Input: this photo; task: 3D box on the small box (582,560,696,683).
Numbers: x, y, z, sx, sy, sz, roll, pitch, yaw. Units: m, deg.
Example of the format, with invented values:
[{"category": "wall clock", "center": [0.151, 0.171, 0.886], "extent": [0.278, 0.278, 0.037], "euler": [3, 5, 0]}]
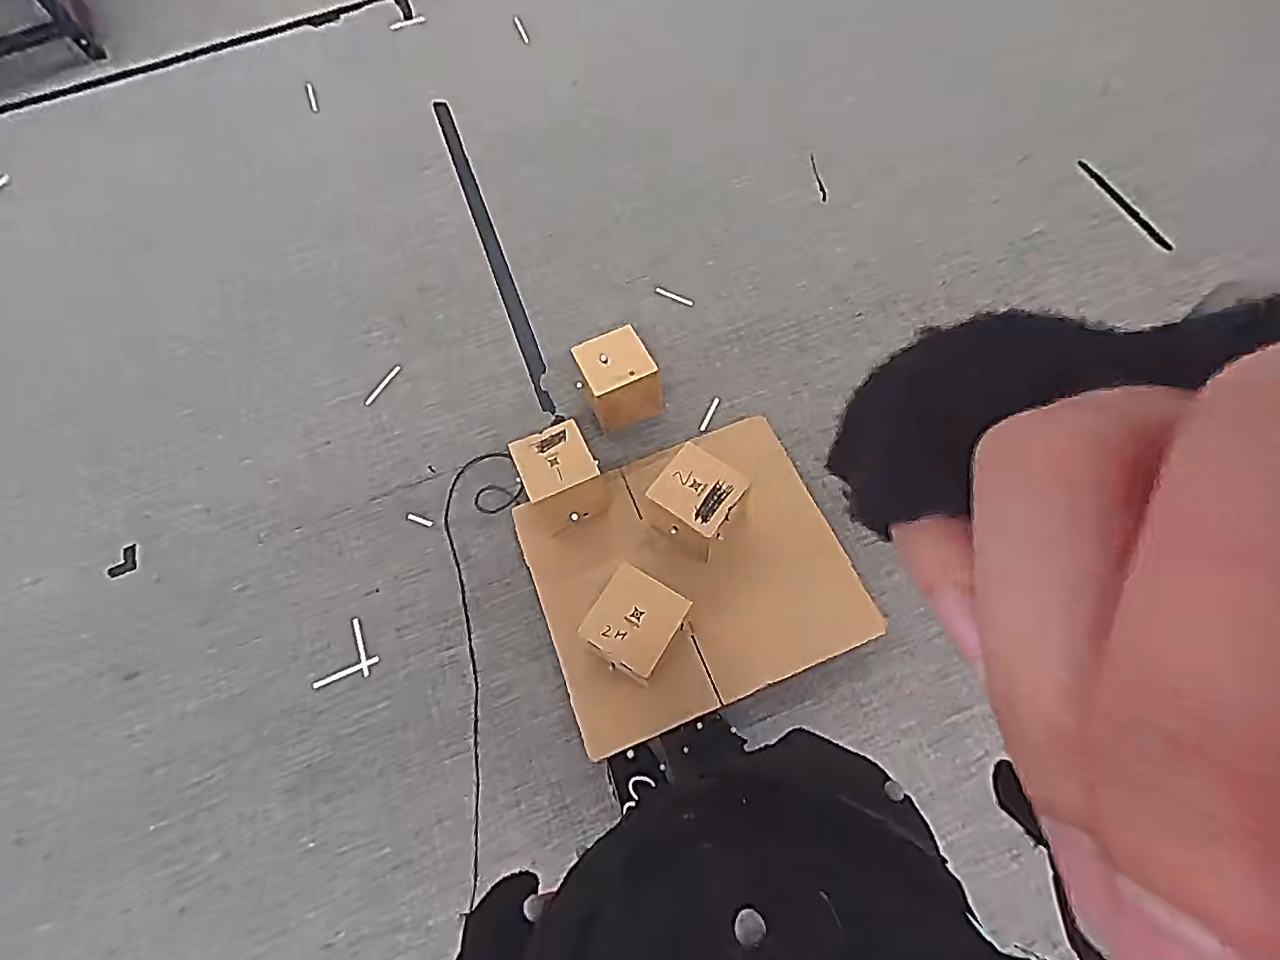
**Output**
[{"category": "small box", "center": [0.000, 0.301, 1.134], "extent": [0.168, 0.176, 0.179], "euler": [29, 69, 16]}]

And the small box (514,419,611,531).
[{"category": "small box", "center": [-0.182, -0.008, 1.291], "extent": [0.168, 0.176, 0.179], "euler": [-24, 61, -8]}]
